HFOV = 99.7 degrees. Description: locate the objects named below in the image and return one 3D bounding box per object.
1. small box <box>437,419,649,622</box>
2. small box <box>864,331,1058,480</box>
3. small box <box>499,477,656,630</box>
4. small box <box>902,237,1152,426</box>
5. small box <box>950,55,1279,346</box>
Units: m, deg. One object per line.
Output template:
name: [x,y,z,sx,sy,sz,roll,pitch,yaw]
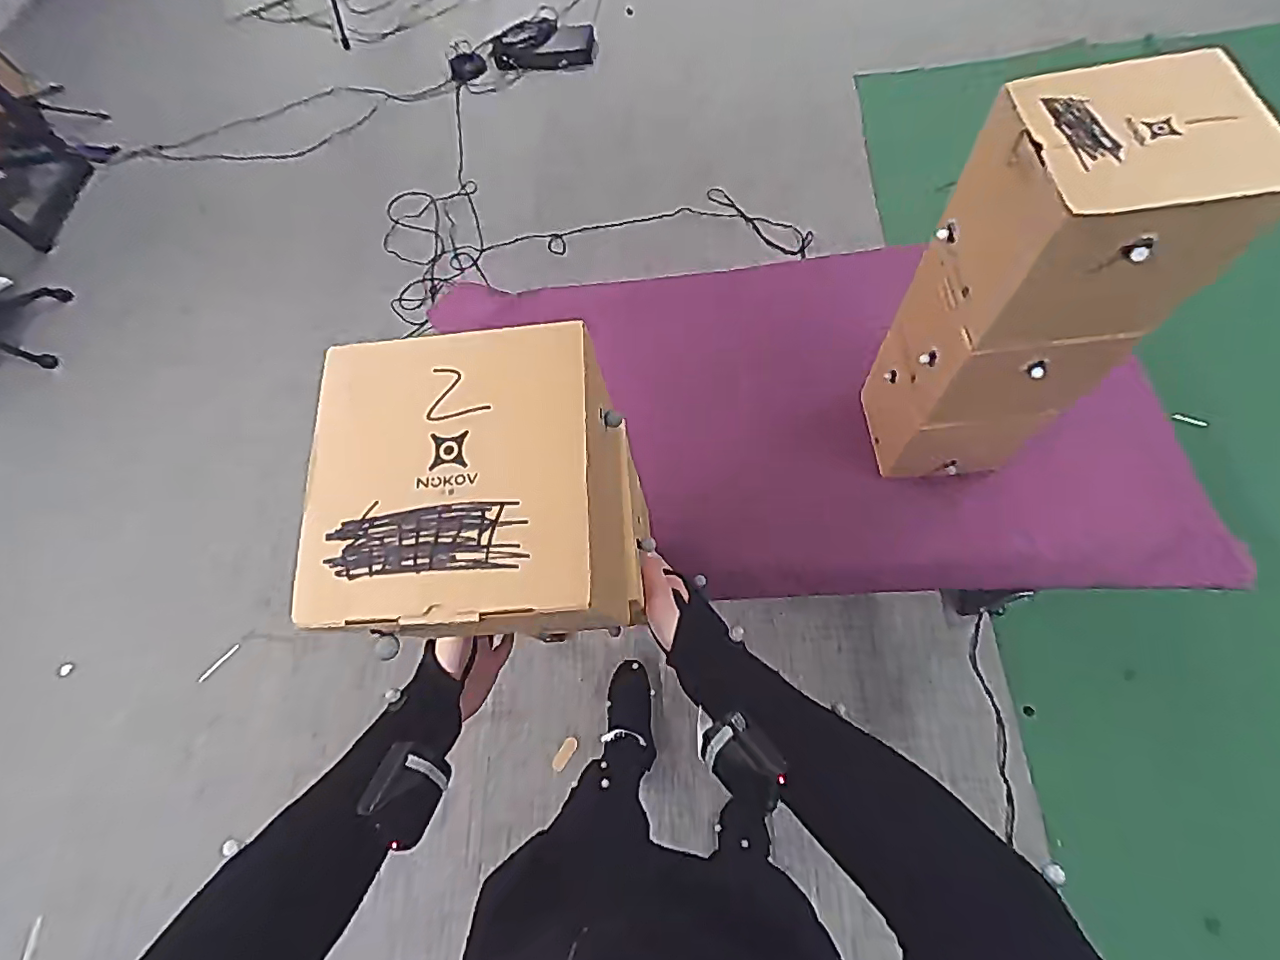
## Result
small box: [-0.085,0.052,0.549,0.179,0.176,0.168,-7,73,4]
small box: [0.455,-0.110,0.801,0.179,0.176,0.168,-5,66,5]
small box: [-0.072,0.102,0.703,0.179,0.176,0.168,-6,71,4]
small box: [0.436,-0.176,0.652,0.179,0.176,0.168,-4,67,6]
small box: [0.417,-0.243,0.504,0.179,0.176,0.168,-5,67,6]
